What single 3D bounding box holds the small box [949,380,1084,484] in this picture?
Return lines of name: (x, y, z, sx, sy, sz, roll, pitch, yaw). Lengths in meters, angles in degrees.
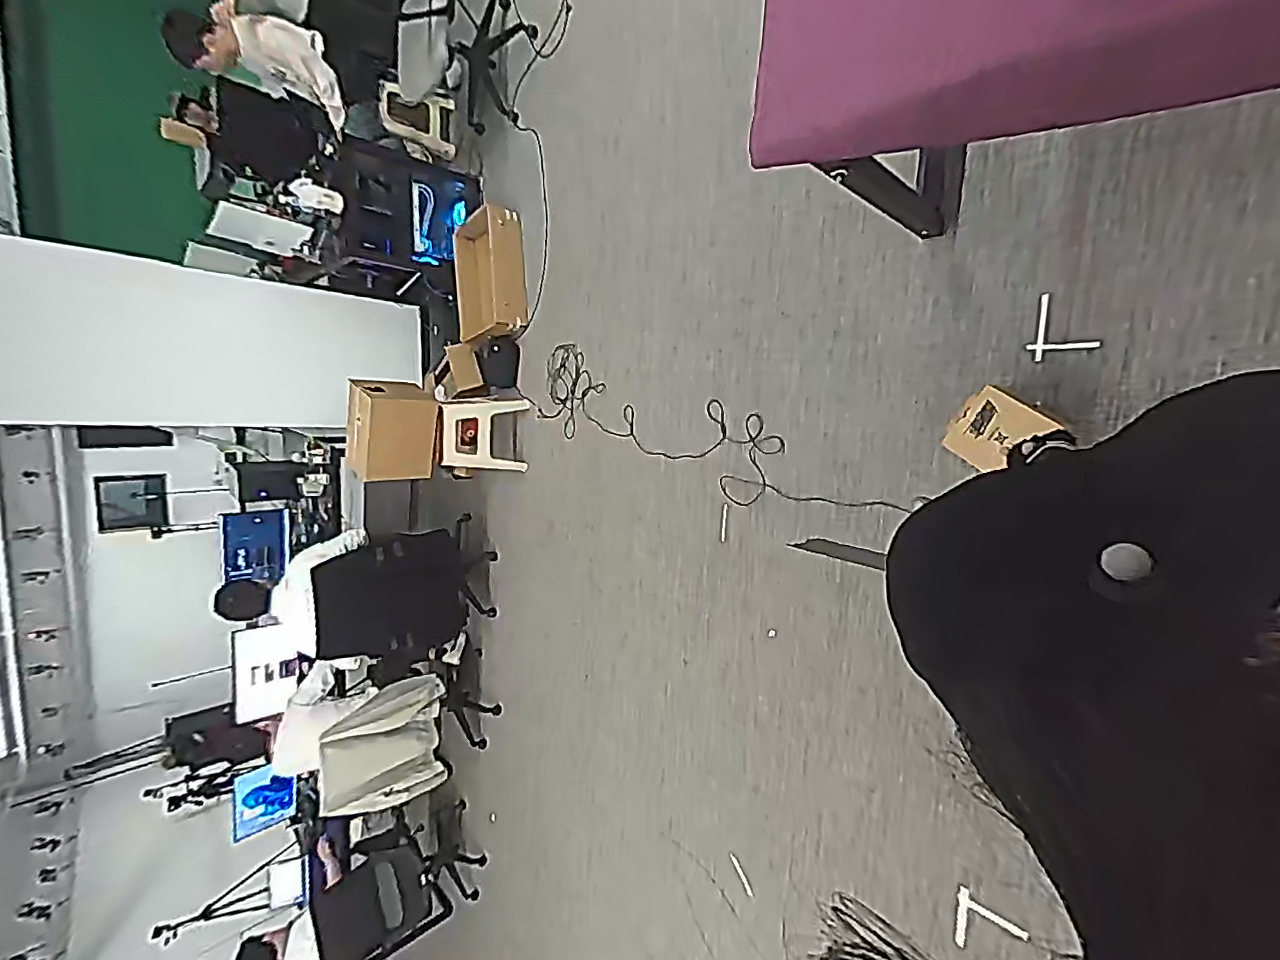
small box: (0.856, -0.108, 1.230, 0.179, 0.176, 0.168, 47, 126, 33)
